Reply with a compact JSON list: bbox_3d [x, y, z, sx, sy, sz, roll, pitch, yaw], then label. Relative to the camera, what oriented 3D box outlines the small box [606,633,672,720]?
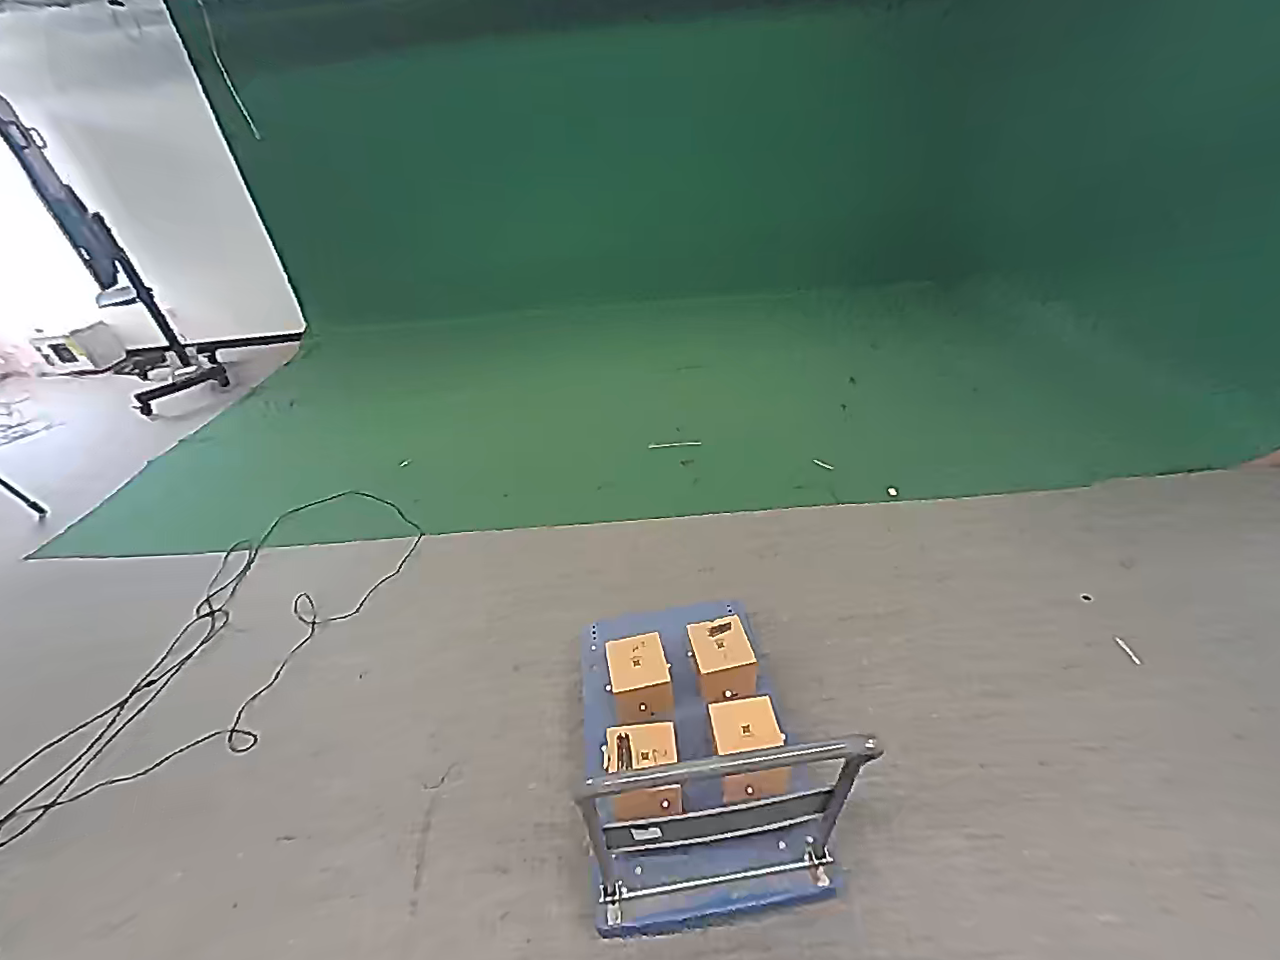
[{"bbox_3d":[-0.002,0.589,1.604,0.168,0.176,0.179,-9,36,-6],"label":"small box"}]

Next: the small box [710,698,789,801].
[{"bbox_3d":[0.277,0.702,1.413,0.168,0.176,0.179,-7,37,-2],"label":"small box"}]

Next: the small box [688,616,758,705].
[{"bbox_3d":[0.245,0.544,1.630,0.168,0.176,0.179,-11,37,-5],"label":"small box"}]
